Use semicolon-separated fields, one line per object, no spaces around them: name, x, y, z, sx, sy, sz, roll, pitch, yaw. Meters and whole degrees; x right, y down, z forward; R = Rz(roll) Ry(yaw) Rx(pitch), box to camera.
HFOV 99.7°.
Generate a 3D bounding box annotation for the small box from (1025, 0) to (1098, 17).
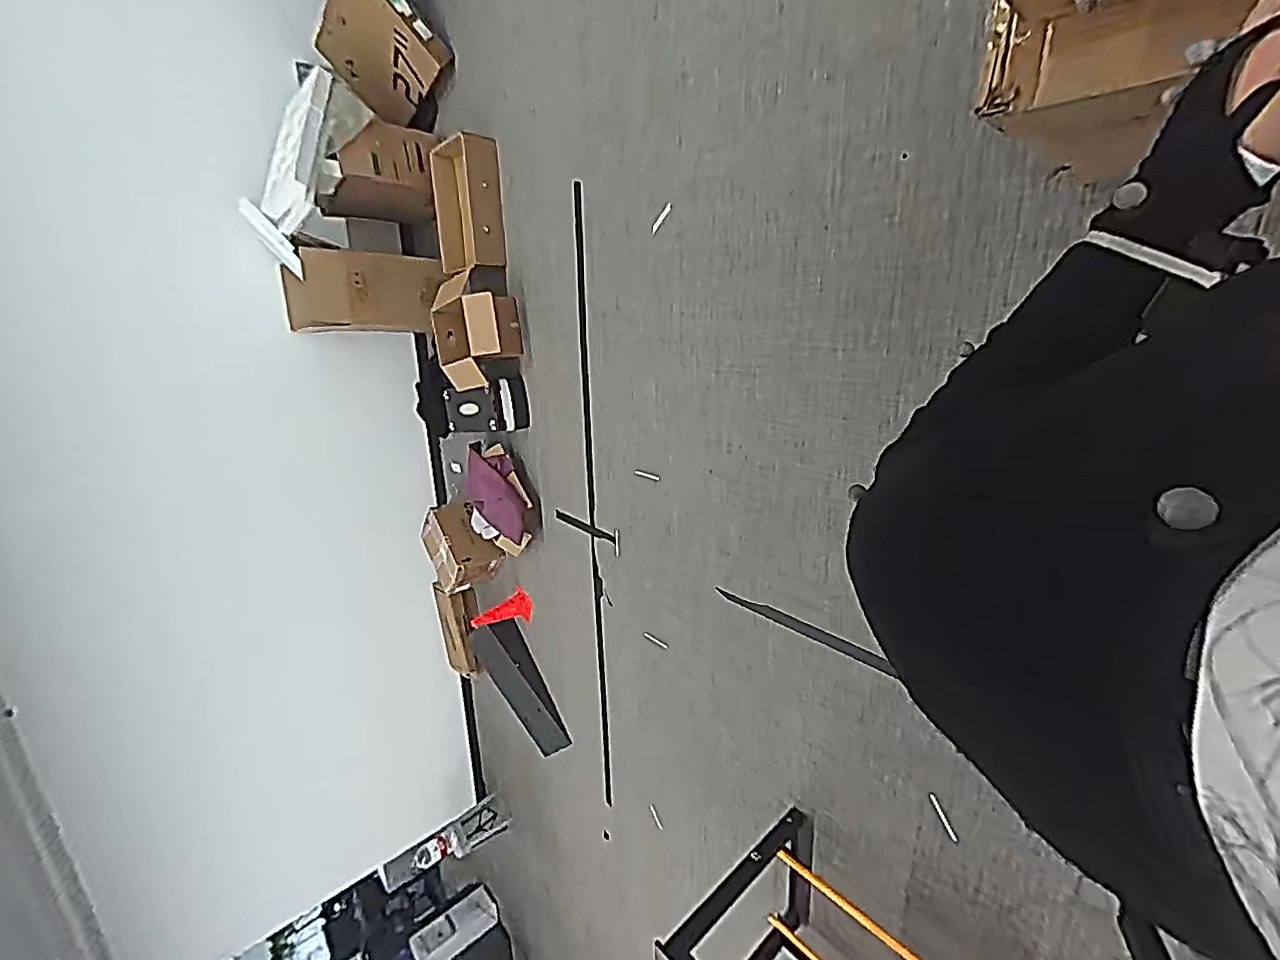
small box;0.477;-0.614;0.535;0.168;0.176;0.179;18;117;46
